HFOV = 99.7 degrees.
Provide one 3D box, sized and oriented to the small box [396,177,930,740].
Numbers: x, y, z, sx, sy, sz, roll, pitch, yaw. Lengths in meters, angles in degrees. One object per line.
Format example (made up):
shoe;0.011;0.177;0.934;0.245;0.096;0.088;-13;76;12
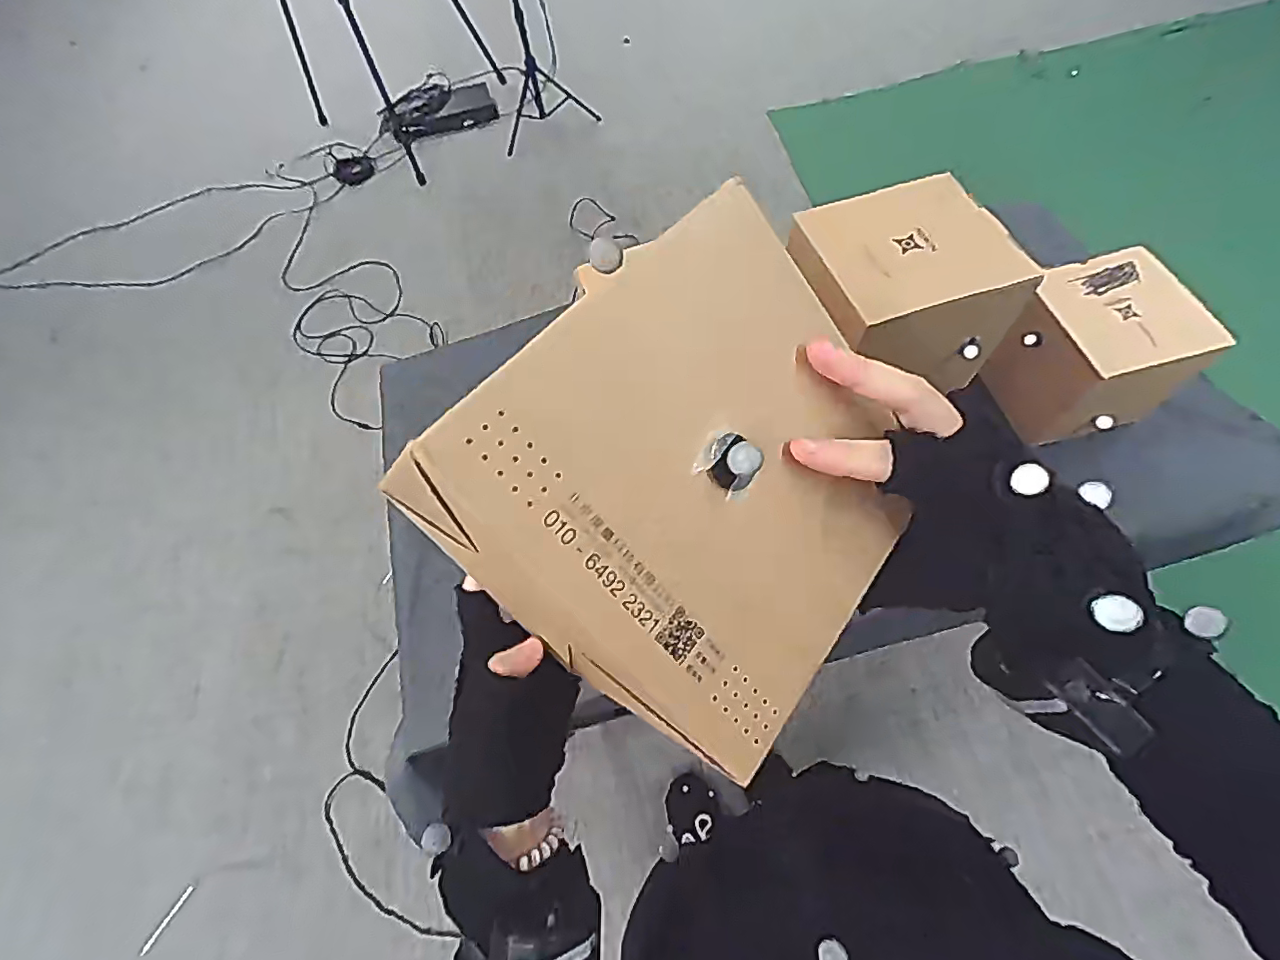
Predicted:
small box;-0.001;-0.002;0.281;0.168;0.179;0.176;49;66;-16
